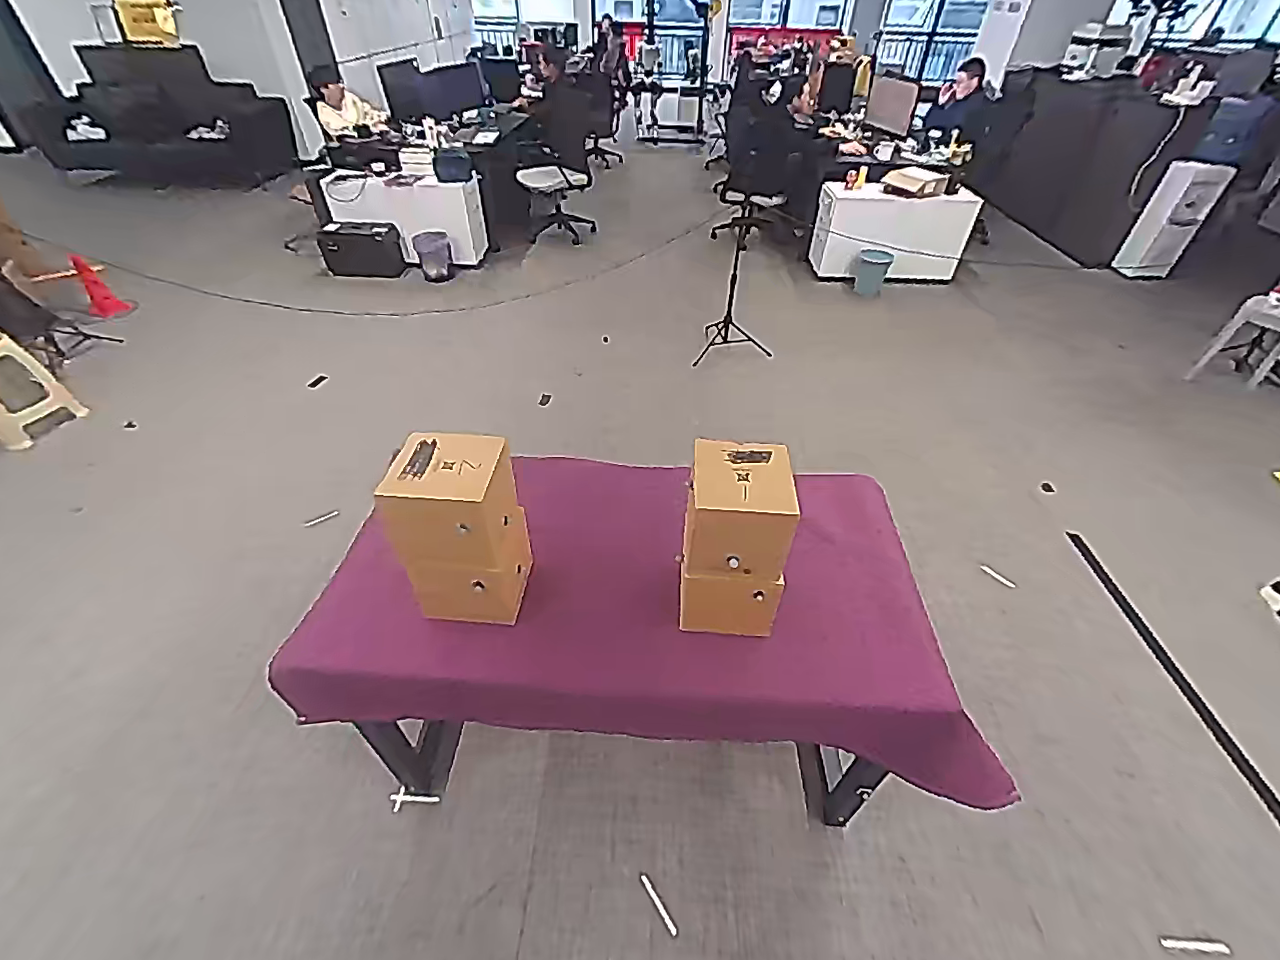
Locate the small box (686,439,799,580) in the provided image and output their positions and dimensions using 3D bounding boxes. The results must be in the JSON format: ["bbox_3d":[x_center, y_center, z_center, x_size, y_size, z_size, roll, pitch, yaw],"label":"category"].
[{"bbox_3d":[0.169,0.051,0.948,0.168,0.176,0.179,4,43,3],"label":"small box"}]

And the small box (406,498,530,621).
[{"bbox_3d":[-0.321,0.158,1.057,0.179,0.176,0.168,4,42,3],"label":"small box"}]

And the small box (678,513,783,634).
[{"bbox_3d":[0.167,0.181,1.049,0.179,0.176,0.168,4,42,2],"label":"small box"}]
